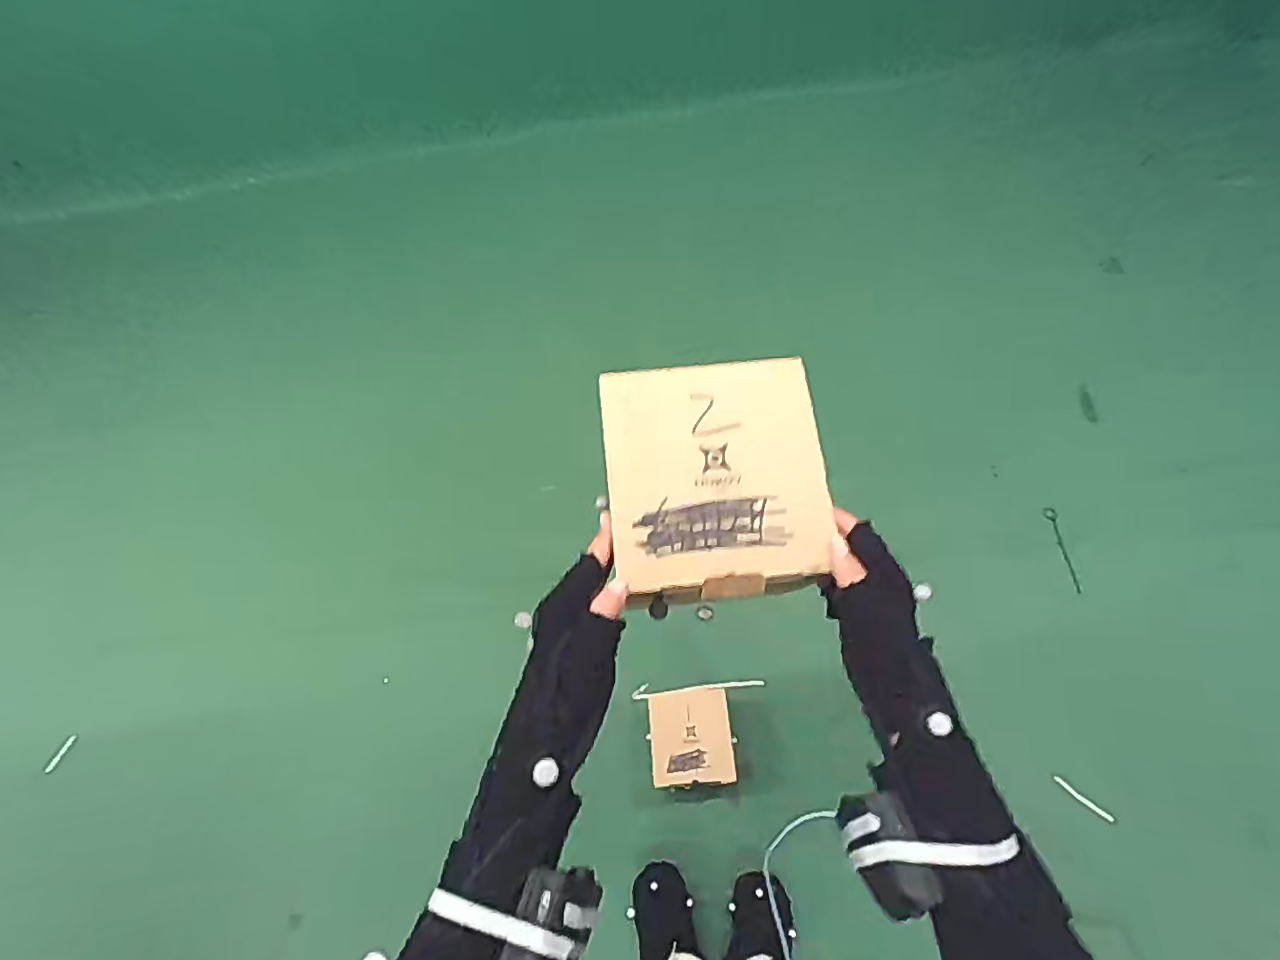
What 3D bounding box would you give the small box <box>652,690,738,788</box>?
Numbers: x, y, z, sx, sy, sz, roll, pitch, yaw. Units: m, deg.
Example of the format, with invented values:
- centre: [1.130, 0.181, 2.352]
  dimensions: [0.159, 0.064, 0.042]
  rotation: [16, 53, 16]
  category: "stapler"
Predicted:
- centre: [0.119, 0.564, 1.177]
  dimensions: [0.168, 0.176, 0.179]
  rotation: [-6, 61, 3]
  category: "small box"
